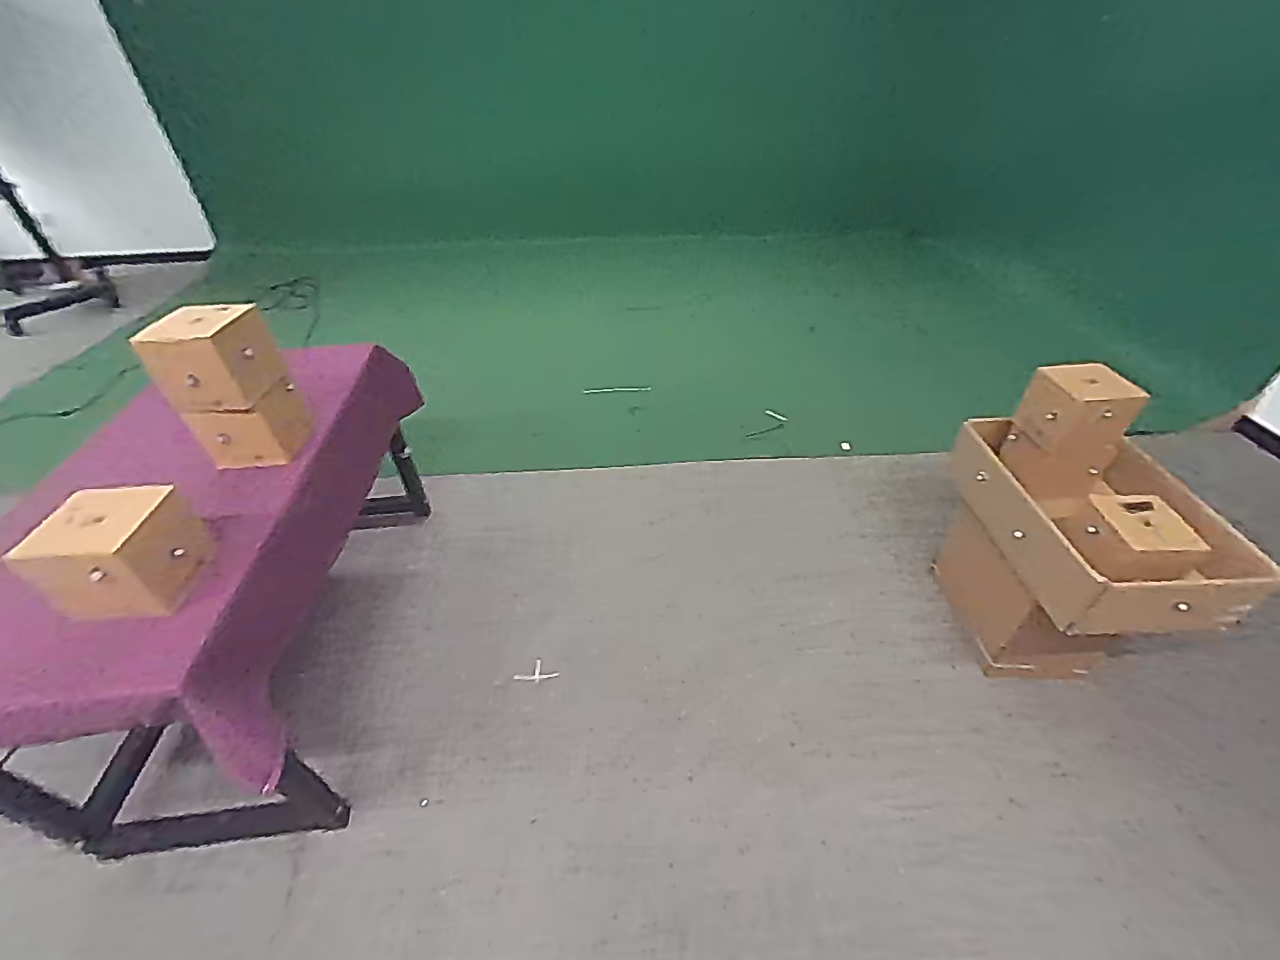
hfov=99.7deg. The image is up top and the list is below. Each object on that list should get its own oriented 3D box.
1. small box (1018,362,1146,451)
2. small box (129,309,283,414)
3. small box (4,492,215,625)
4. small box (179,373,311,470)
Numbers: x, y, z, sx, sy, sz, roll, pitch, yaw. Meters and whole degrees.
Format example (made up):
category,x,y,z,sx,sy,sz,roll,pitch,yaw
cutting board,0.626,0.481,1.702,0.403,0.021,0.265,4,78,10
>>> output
category,x,y,z,sx,sy,sz,roll,pitch,yaw
small box,1.127,-0.188,1.404,0.179,0.176,0.168,-4,41,-3
small box,-0.928,-0.256,1.180,0.168,0.176,0.179,-1,41,1
small box,-0.920,0.141,0.965,0.179,0.176,0.168,-4,40,-1
small box,-0.927,-0.135,1.292,0.168,0.176,0.179,-5,40,-3
